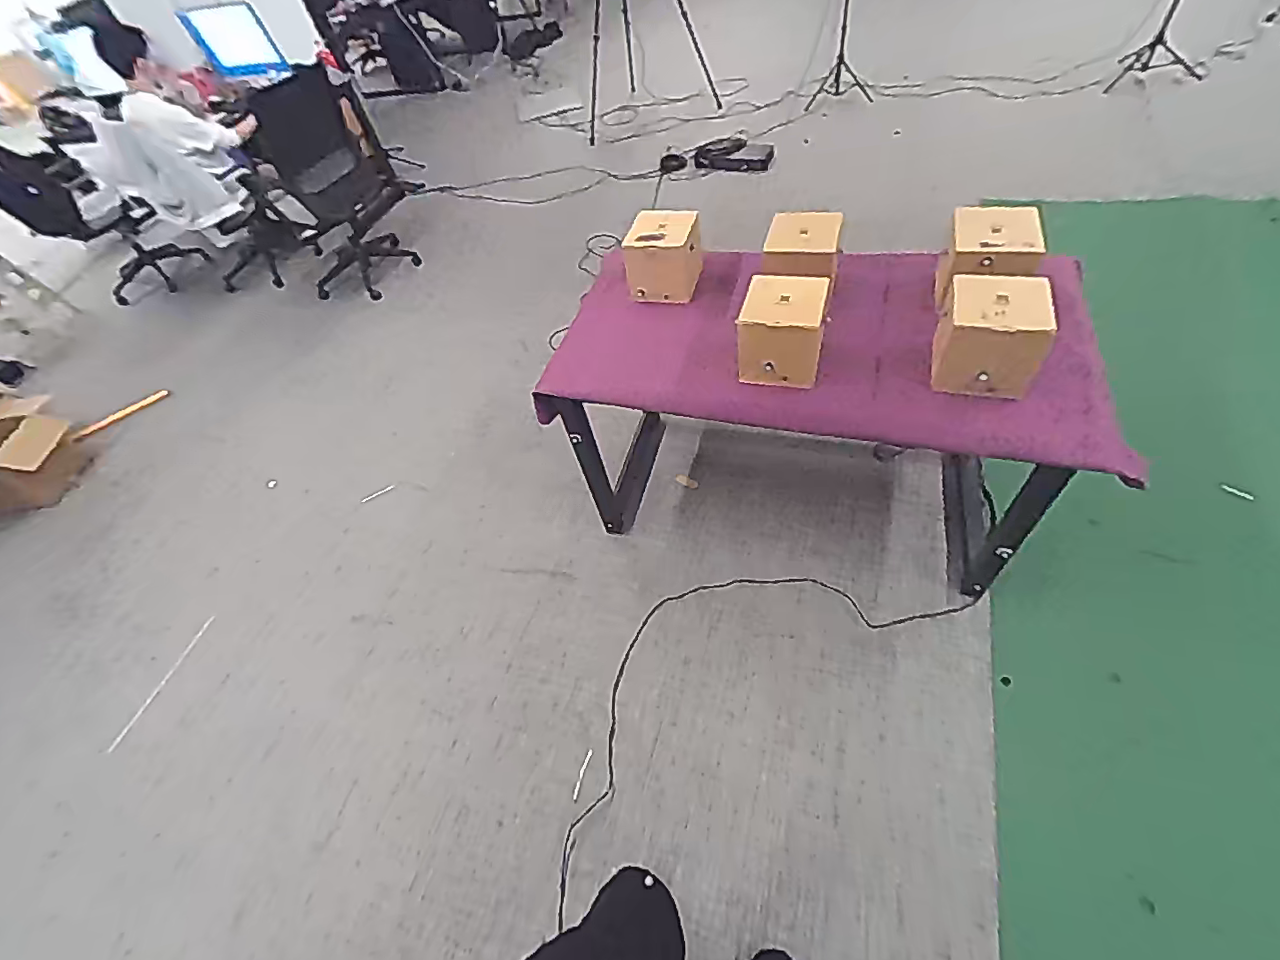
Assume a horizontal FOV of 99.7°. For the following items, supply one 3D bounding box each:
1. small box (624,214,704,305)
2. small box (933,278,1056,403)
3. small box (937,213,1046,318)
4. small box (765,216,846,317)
[{"bbox_3d":[0.074,-0.595,1.465,0.168,0.176,0.179,9,55,17],"label":"small box"},{"bbox_3d":[0.703,-0.281,1.089,0.168,0.176,0.179,10,54,20],"label":"small box"},{"bbox_3d":[0.790,-0.484,1.232,0.168,0.176,0.179,9,55,19],"label":"small box"},{"bbox_3d":[0.409,-0.535,1.353,0.168,0.176,0.179,10,56,19],"label":"small box"}]
